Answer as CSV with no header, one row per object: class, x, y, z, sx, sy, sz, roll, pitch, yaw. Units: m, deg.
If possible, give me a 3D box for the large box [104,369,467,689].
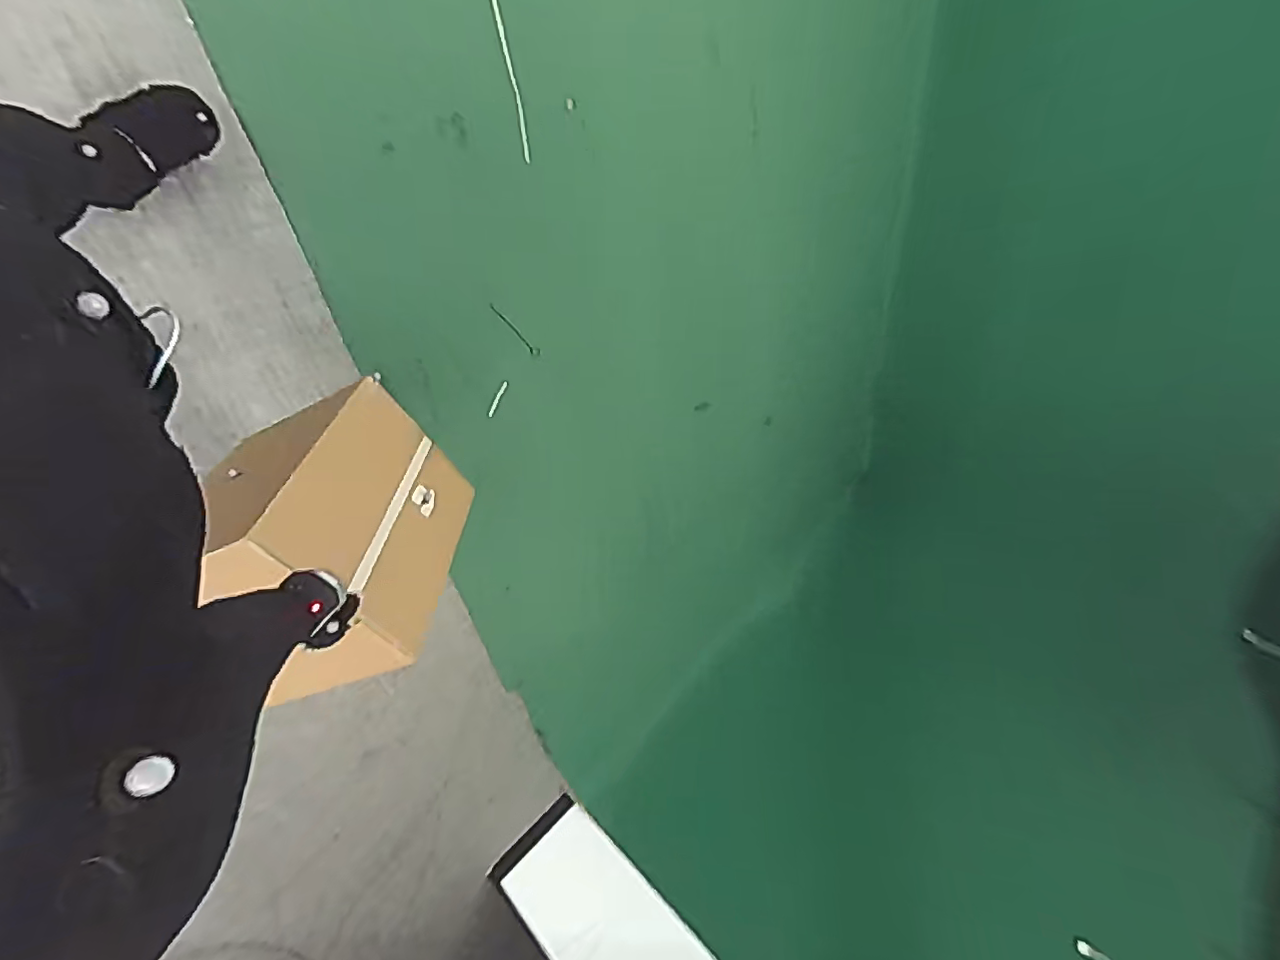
large box,-0.559,0.082,0.946,0.320,0.408,0.320,-21,127,14
